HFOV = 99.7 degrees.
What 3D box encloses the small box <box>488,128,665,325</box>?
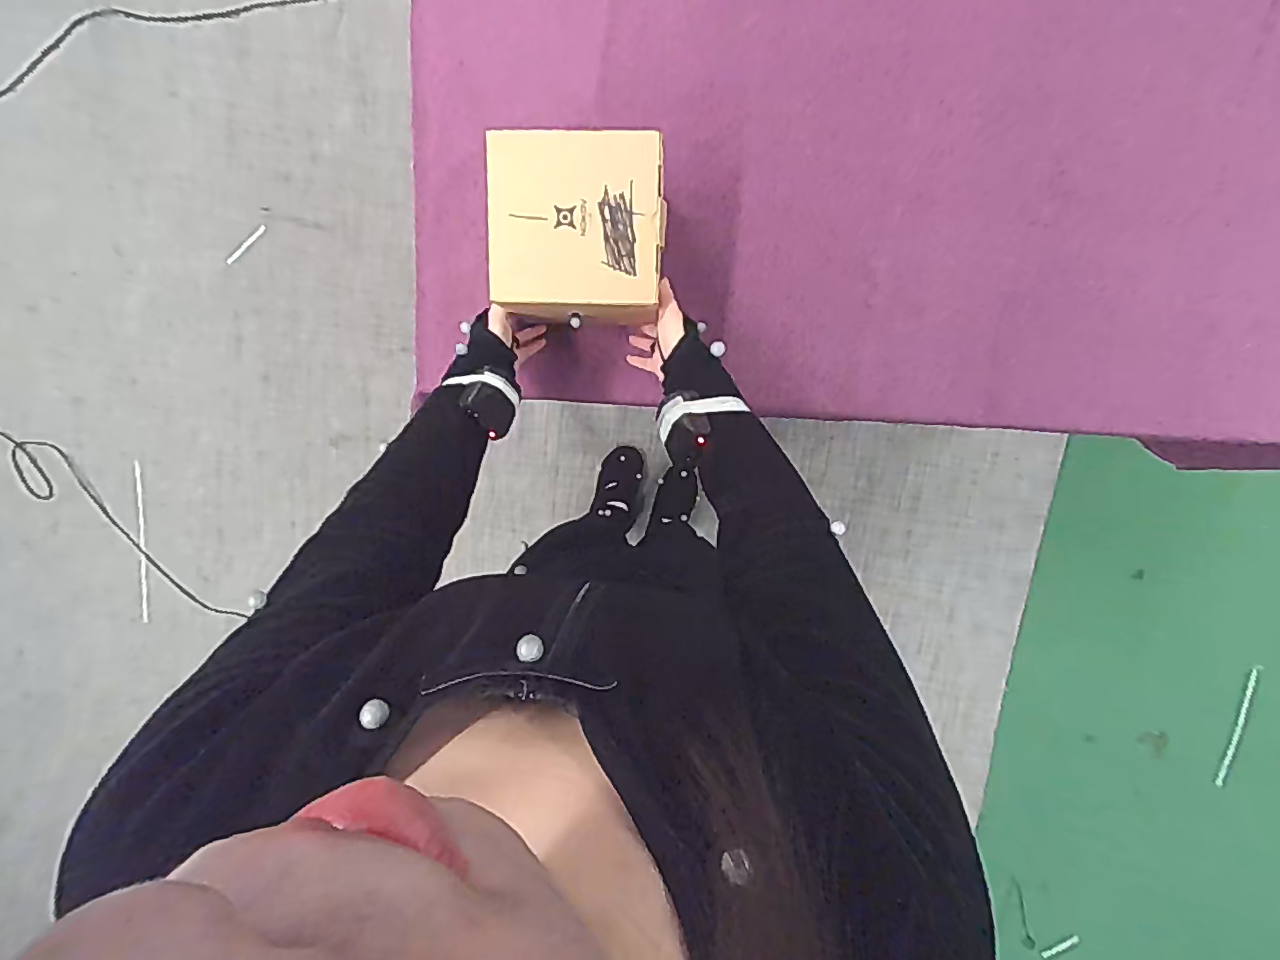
[{"bbox_3d":[-0.062,-0.274,0.619,0.179,0.176,0.168,2,99,3],"label":"small box"}]
